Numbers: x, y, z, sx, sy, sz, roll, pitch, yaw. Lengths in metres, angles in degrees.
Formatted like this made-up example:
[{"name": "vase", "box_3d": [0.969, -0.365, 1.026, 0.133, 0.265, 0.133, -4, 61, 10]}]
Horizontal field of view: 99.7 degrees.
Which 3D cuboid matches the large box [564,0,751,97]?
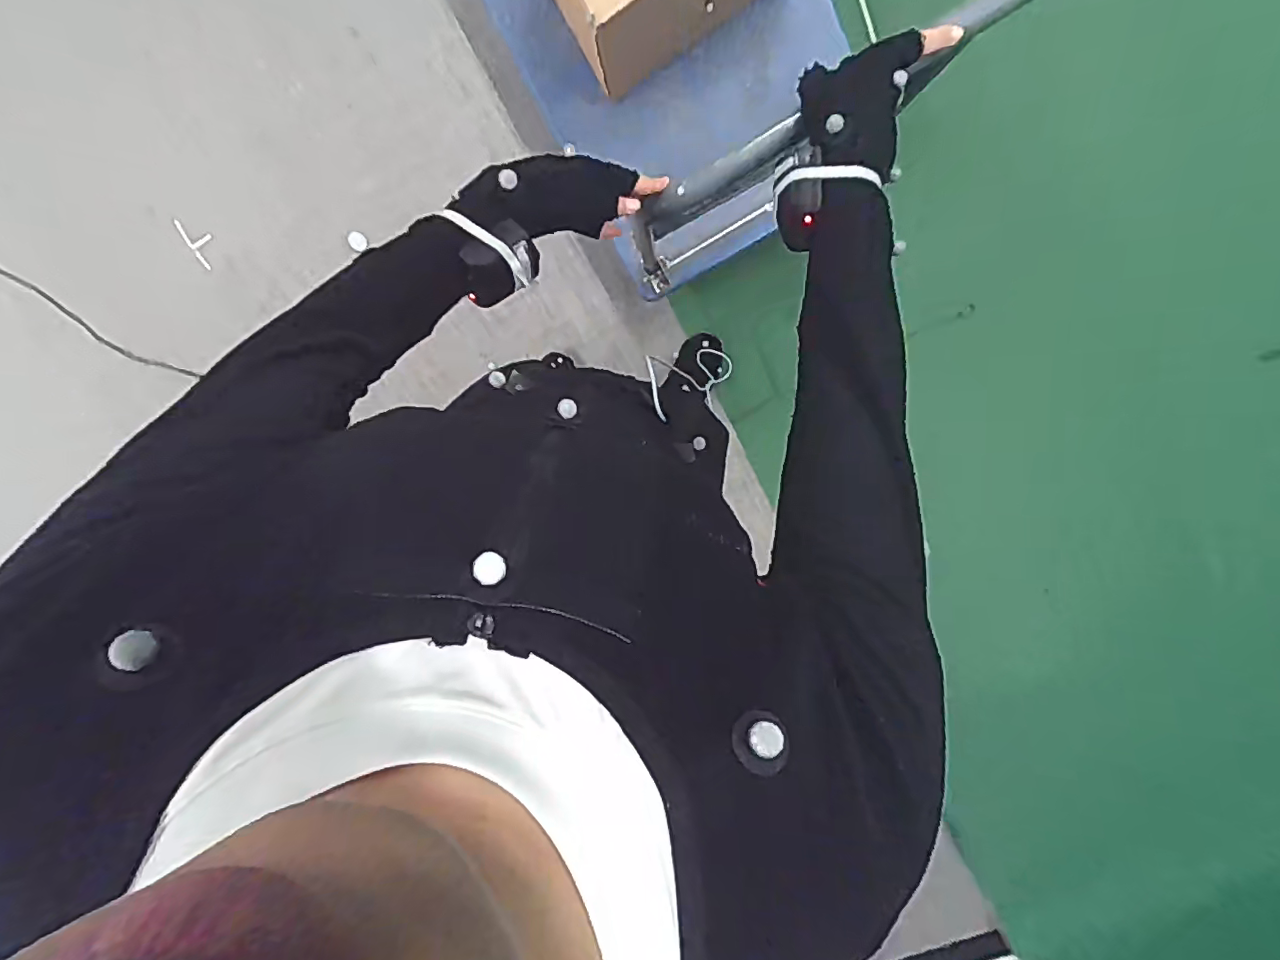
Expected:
[{"name": "large box", "box_3d": [0.039, -0.940, 0.874, 0.408, 0.320, 0.320, -30, 103, 11]}]
